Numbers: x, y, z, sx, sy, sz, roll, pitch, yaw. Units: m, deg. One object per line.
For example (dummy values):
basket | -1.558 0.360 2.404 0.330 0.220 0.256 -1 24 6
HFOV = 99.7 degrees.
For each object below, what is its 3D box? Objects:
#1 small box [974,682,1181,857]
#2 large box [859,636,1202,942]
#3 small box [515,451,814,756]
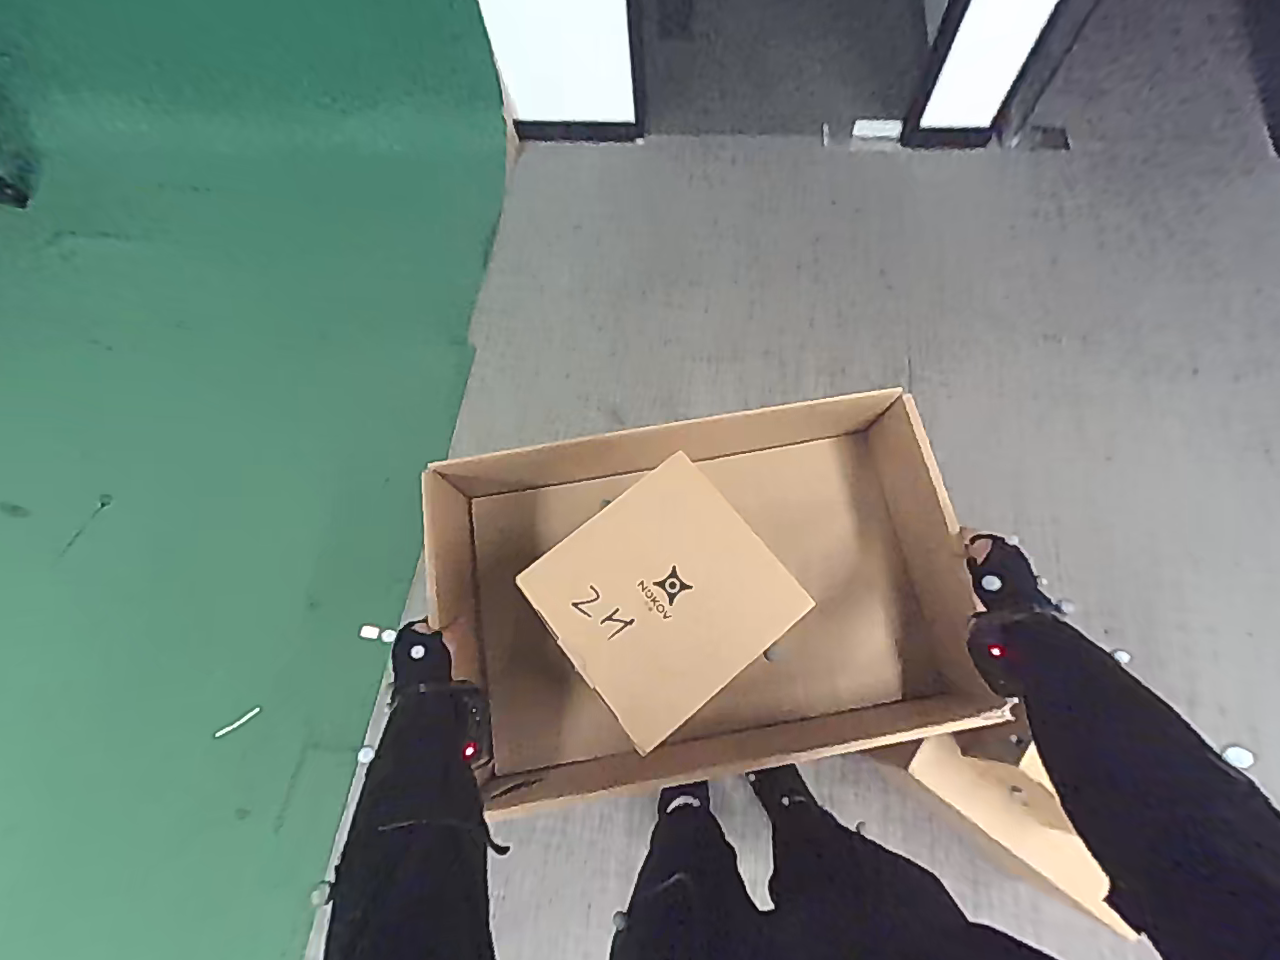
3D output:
small box | 0.688 0.451 0.874 0.168 0.176 0.179 39 76 17
large box | 0.734 0.570 1.086 0.408 0.320 0.320 35 76 15
small box | 0.019 0.108 0.490 0.179 0.176 0.168 -38 75 -9
